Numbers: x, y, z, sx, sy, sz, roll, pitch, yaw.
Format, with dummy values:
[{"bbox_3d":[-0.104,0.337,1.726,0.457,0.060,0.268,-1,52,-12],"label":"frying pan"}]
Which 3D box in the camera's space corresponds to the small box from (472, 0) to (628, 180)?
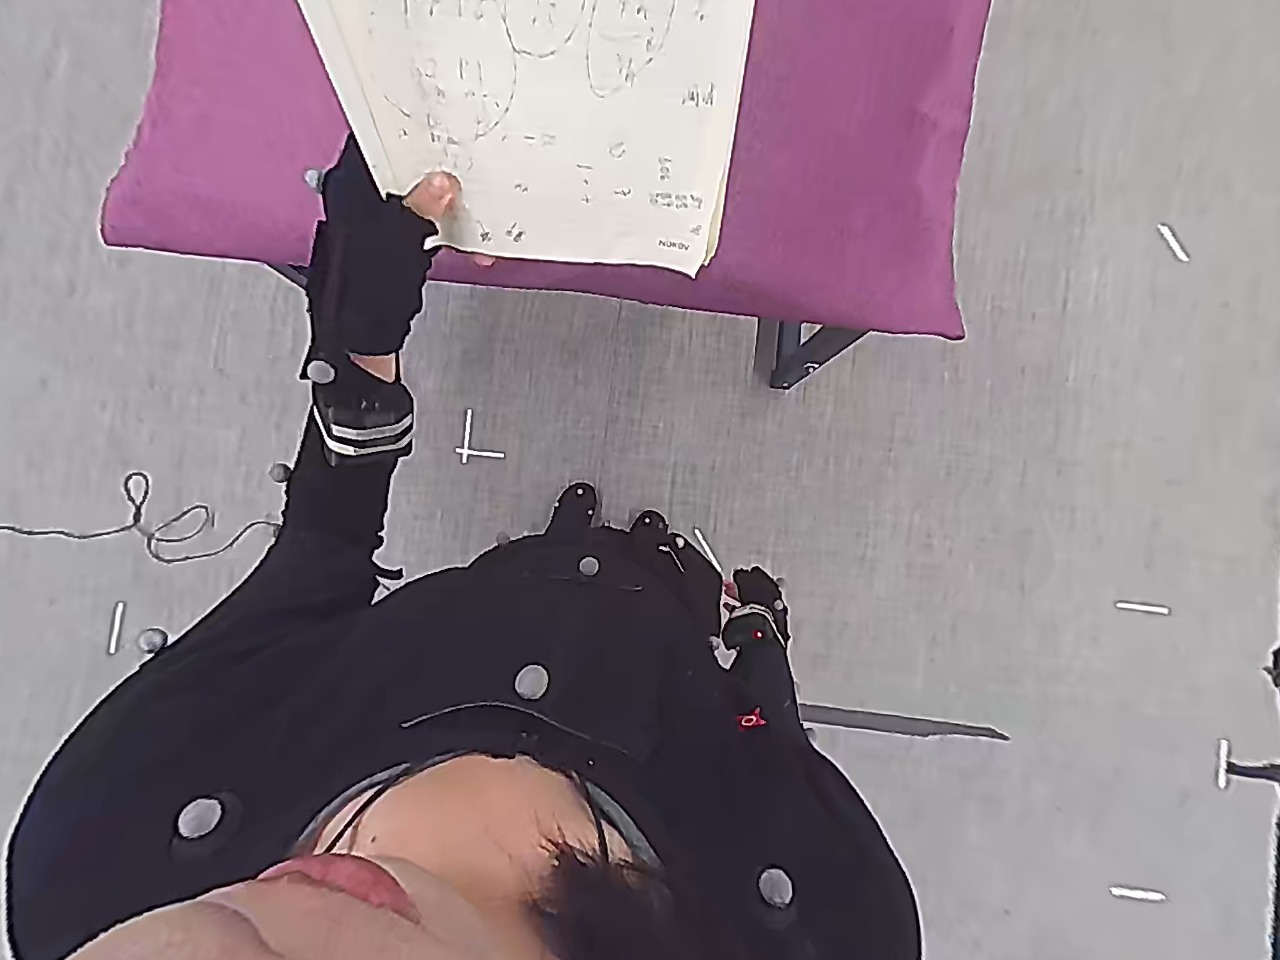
[{"bbox_3d":[-0.113,-0.542,0.739,0.179,0.176,0.168,6,86,-2],"label":"small box"}]
